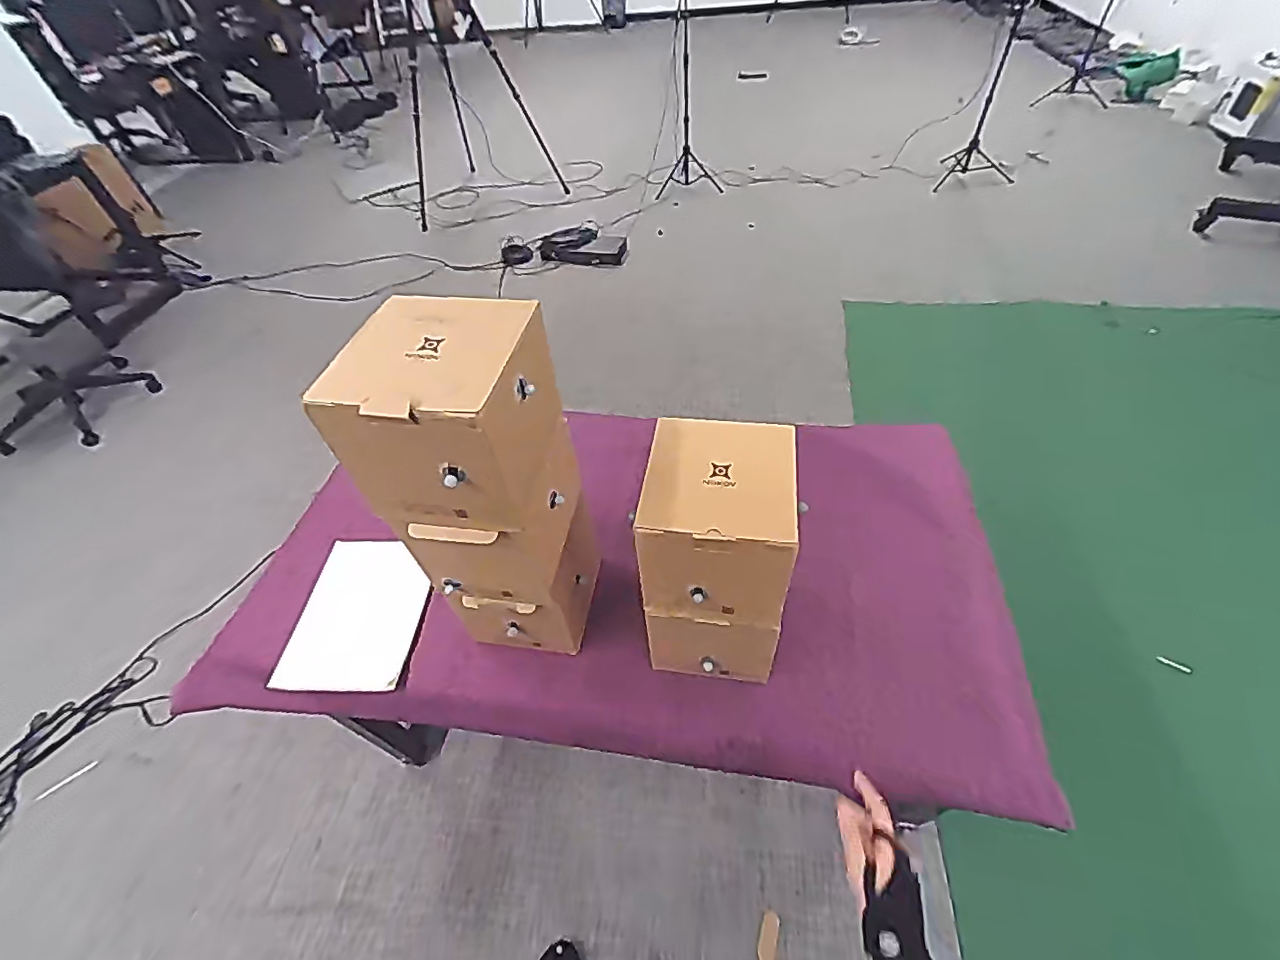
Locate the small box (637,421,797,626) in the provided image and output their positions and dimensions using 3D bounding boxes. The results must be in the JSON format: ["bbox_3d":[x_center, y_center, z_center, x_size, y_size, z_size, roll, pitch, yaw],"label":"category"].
[{"bbox_3d":[0.094,0.052,0.659,0.168,0.176,0.179,5,49,9],"label":"small box"}]

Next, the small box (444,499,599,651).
[{"bbox_3d":[-0.165,0.141,0.823,0.168,0.176,0.179,5,50,9],"label":"small box"}]

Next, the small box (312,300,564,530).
[{"bbox_3d":[-0.188,-0.067,0.570,0.168,0.176,0.179,6,49,9],"label":"small box"}]

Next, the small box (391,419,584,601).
[{"bbox_3d":[-0.176,0.037,0.695,0.168,0.176,0.179,5,48,9],"label":"small box"}]
